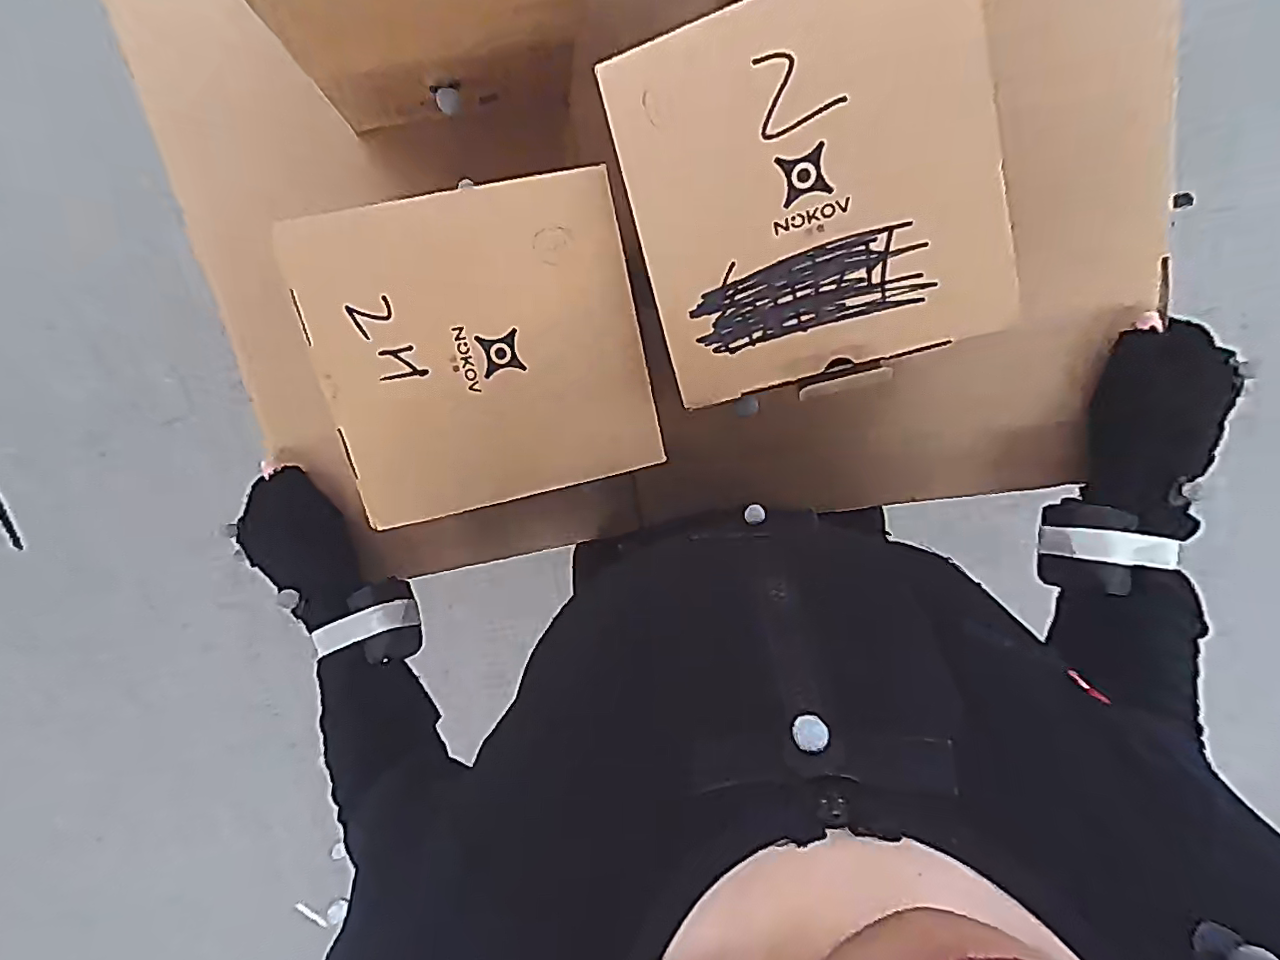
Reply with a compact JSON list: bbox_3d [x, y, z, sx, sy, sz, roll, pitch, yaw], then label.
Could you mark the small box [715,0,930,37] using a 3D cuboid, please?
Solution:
[{"bbox_3d":[0.111,-0.371,0.275,0.168,0.176,0.179,-5,103,12],"label":"small box"}]
